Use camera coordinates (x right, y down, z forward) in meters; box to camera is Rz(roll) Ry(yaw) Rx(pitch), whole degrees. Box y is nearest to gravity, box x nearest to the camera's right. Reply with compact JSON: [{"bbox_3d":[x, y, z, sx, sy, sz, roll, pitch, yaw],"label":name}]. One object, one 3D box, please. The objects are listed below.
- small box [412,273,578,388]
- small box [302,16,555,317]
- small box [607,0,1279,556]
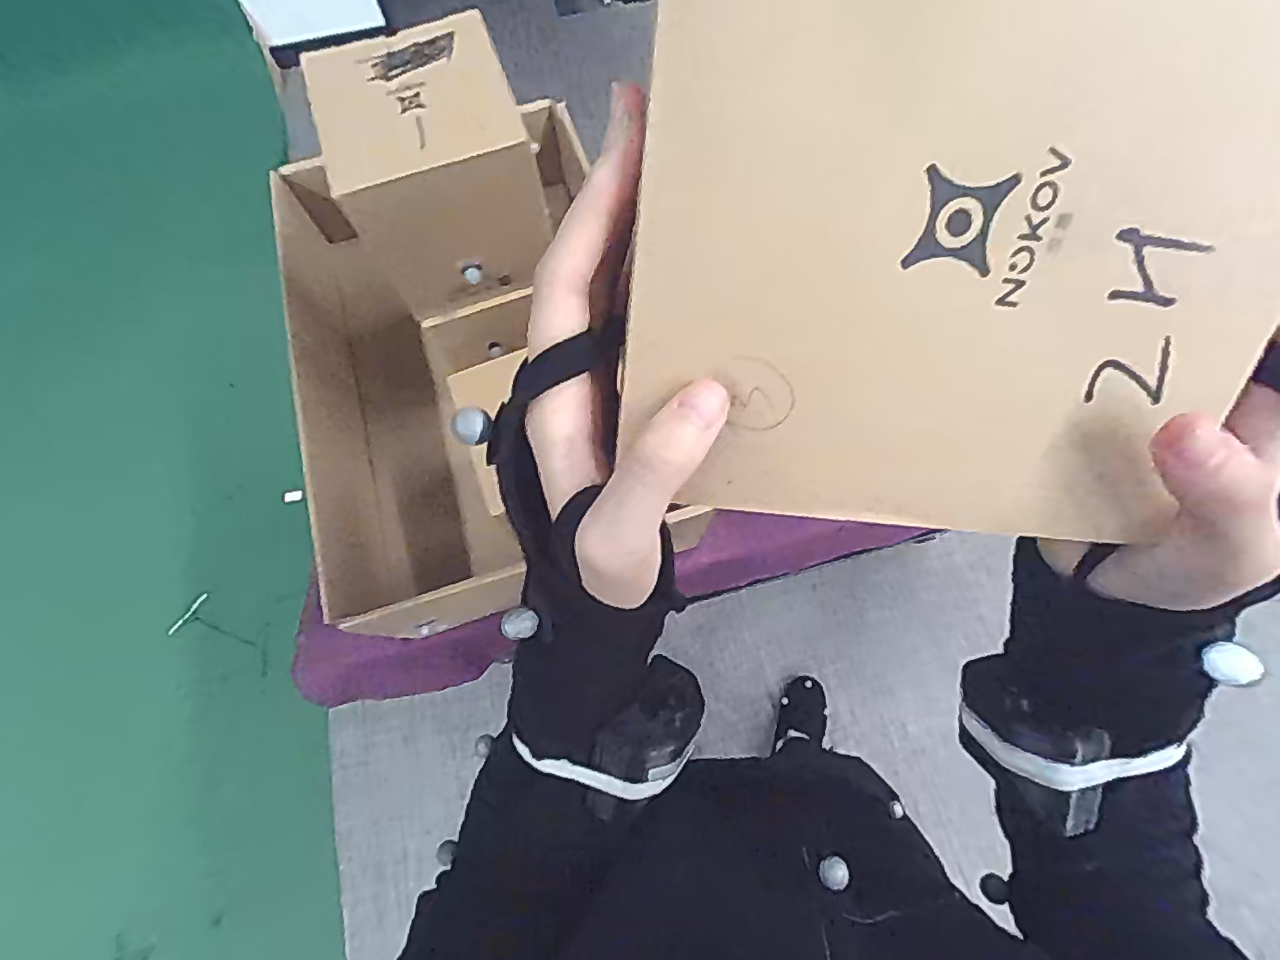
[{"bbox_3d":[-0.189,-0.238,0.691,0.168,0.176,0.179,-20,71,-5],"label":"small box"},{"bbox_3d":[-0.196,-0.298,0.538,0.168,0.176,0.179,-19,73,-4],"label":"small box"},{"bbox_3d":[0.086,-0.091,0.210,0.179,0.176,0.168,6,115,-3],"label":"small box"}]
